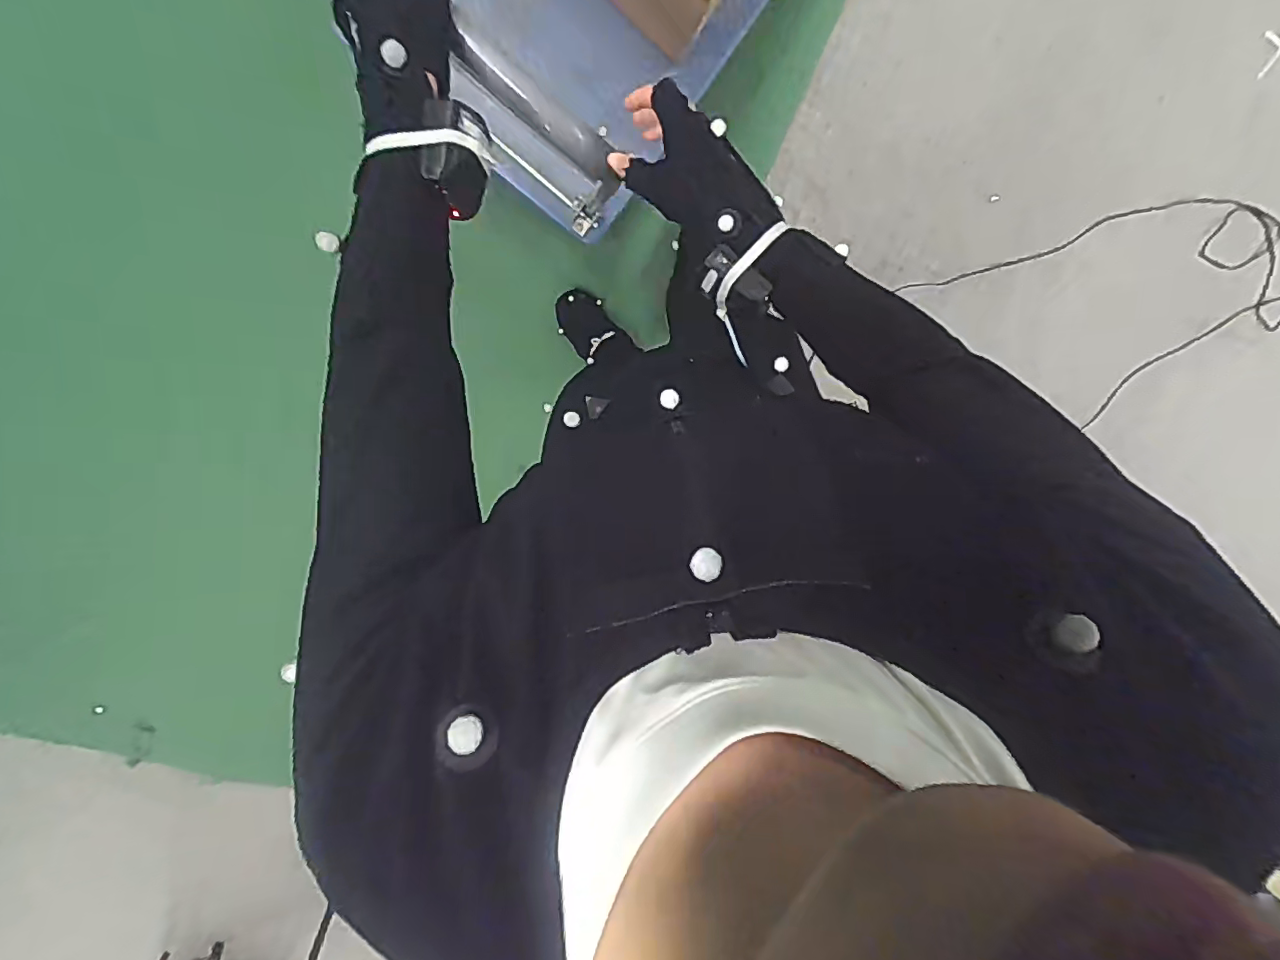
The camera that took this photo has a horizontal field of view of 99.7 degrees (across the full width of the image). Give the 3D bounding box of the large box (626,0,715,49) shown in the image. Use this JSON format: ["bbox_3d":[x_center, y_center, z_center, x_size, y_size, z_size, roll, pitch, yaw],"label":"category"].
[{"bbox_3d":[0.016,-0.944,0.768,0.408,0.320,0.320,33,107,-18],"label":"large box"}]
